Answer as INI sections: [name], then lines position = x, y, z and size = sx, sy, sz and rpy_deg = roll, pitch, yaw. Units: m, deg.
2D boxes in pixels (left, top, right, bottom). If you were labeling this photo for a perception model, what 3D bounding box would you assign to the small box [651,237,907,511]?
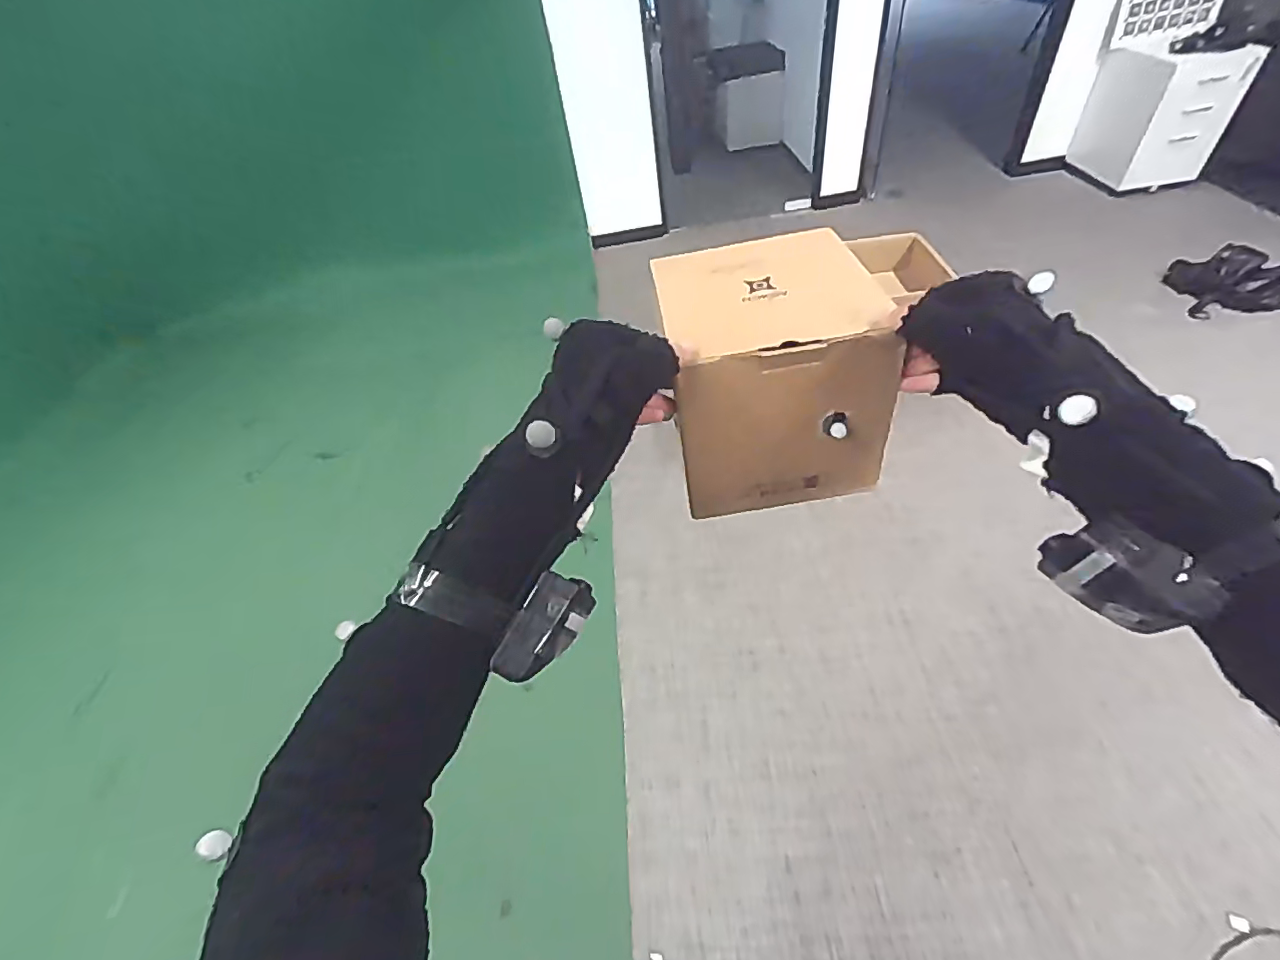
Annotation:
[small box]
position = 0.109, -0.088, 0.483
size = 0.168, 0.176, 0.179
rpy_deg = -10, 43, 2
